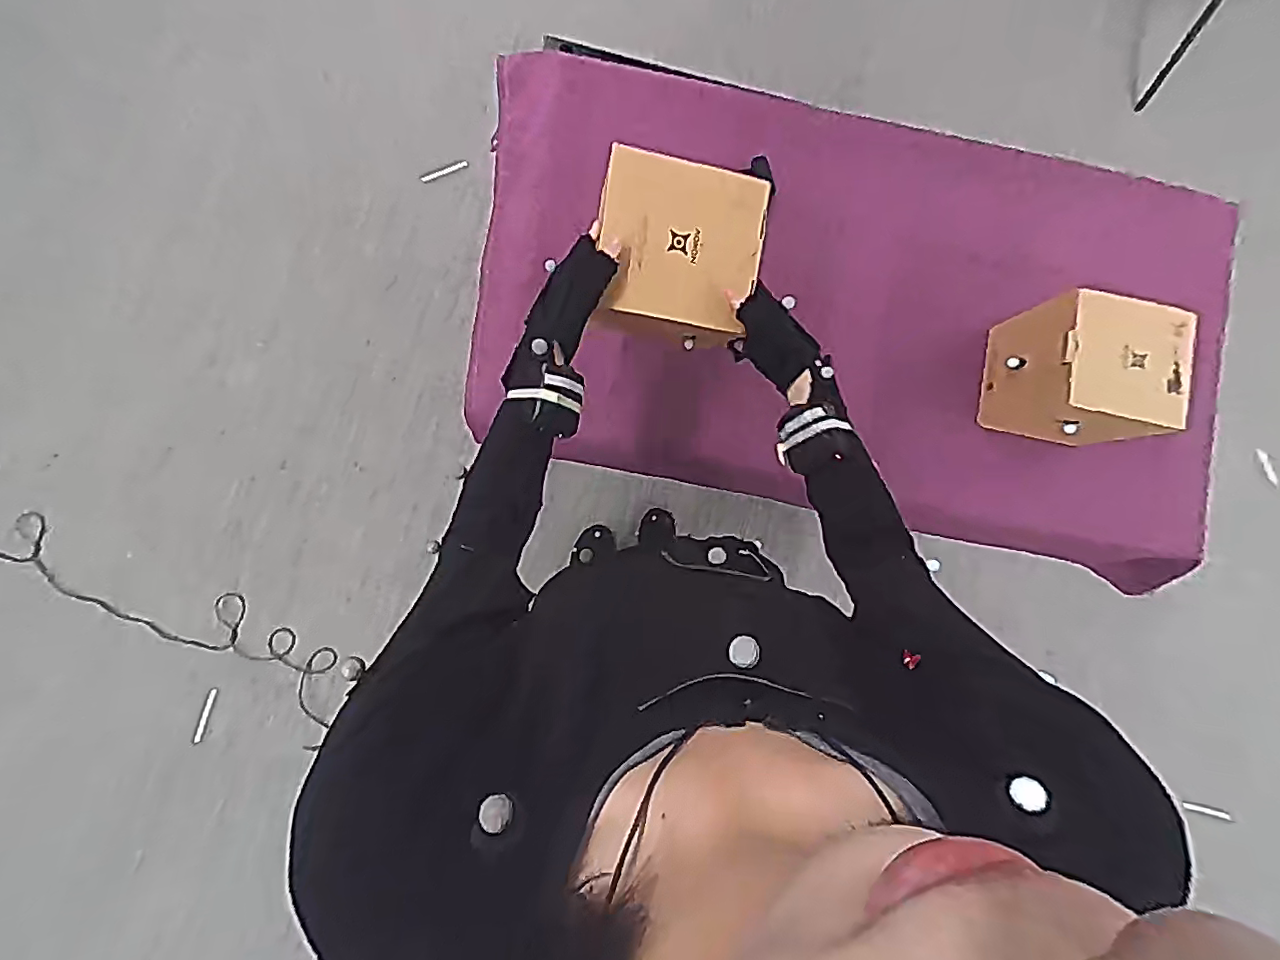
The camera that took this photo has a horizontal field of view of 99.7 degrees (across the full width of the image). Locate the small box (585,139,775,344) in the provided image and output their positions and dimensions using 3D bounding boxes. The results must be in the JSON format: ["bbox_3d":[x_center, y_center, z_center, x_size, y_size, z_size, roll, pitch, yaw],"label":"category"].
[{"bbox_3d":[0.035,-0.262,0.641,0.179,0.176,0.168,7,96,-9],"label":"small box"}]

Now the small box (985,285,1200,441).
[{"bbox_3d":[0.648,-0.159,0.795,0.179,0.176,0.168,10,85,-3],"label":"small box"}]
